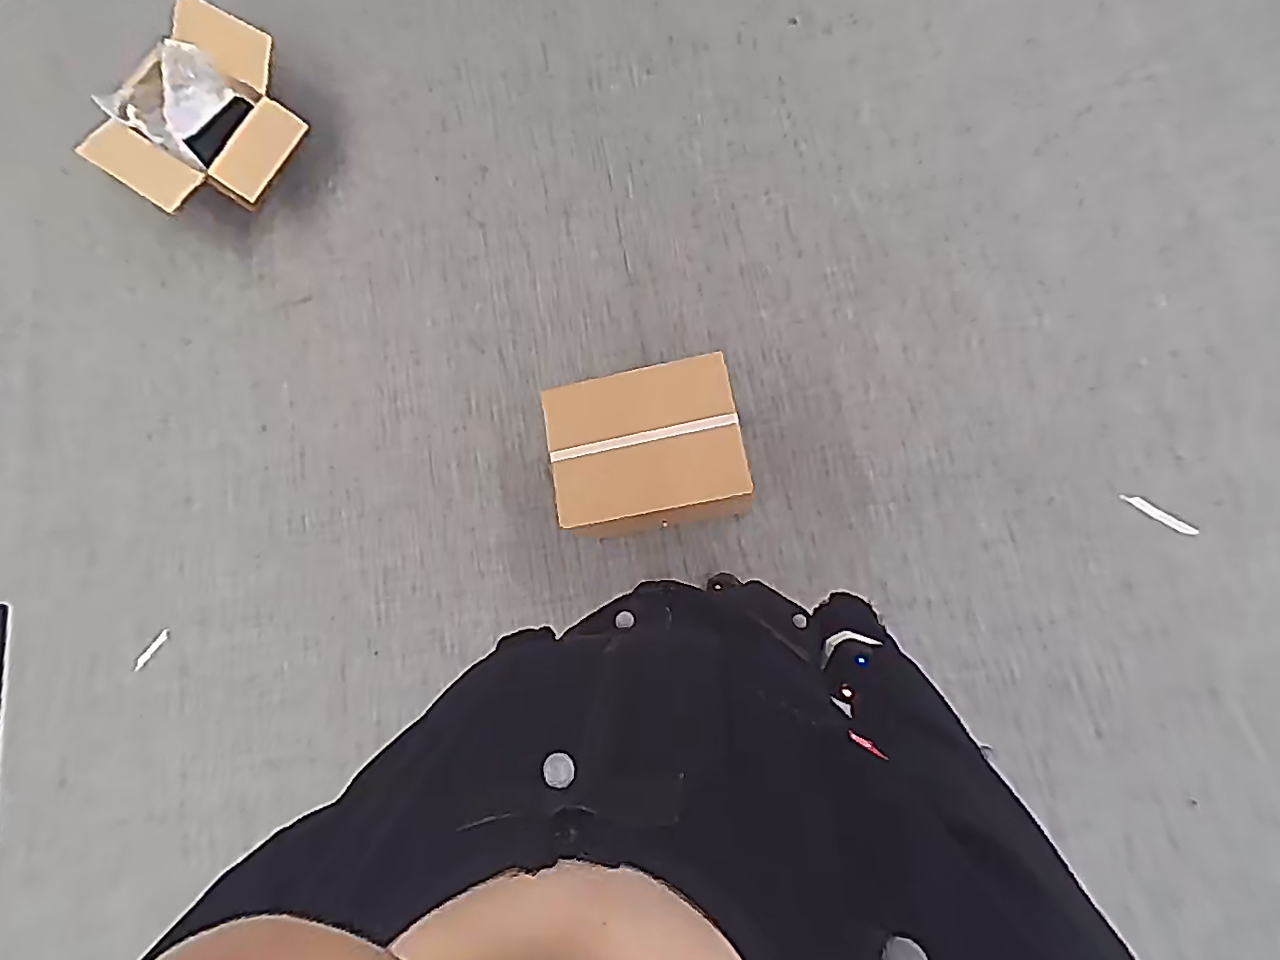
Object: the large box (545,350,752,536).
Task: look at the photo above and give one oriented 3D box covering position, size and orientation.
[{"bbox_3d":[0.029,-0.065,1.288,0.408,0.320,0.320,-11,79,6],"label":"large box"}]
